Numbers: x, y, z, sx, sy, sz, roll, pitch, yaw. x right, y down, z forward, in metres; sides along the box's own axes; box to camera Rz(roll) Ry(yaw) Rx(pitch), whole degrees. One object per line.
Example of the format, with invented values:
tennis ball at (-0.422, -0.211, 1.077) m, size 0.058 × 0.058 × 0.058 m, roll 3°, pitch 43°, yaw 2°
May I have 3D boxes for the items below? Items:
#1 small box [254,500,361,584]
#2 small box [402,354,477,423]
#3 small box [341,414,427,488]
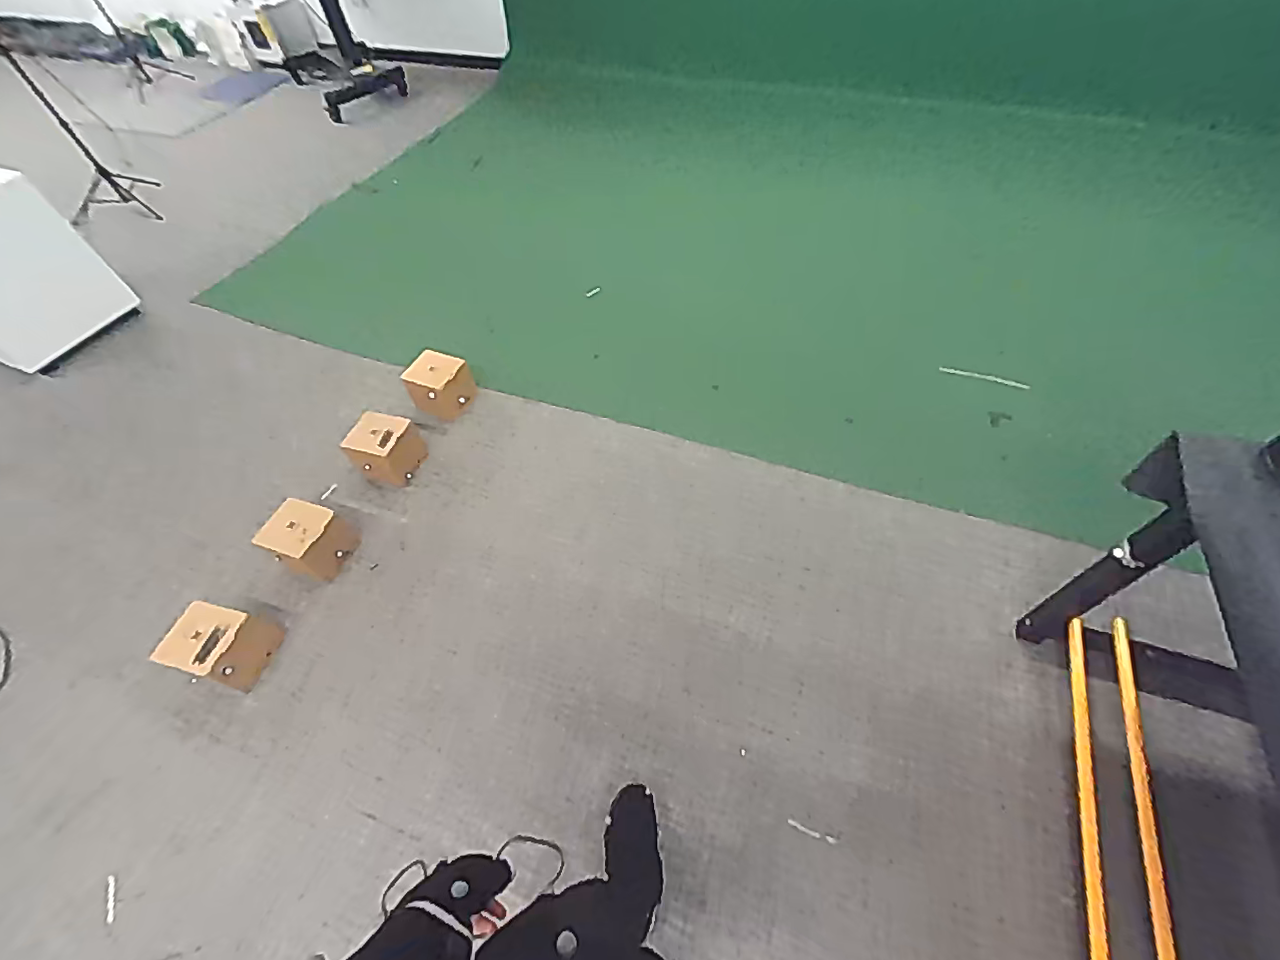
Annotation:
small box at (-0.985, 0.189, 1.616) m, size 0.179 × 0.176 × 0.168 m, roll 15°, pitch 56°, yaw 12°
small box at (-0.737, -0.336, 2.004) m, size 0.179 × 0.176 × 0.168 m, roll 17°, pitch 56°, yaw 14°
small box at (-0.853, -0.093, 1.825) m, size 0.179 × 0.176 × 0.168 m, roll 12°, pitch 54°, yaw 12°
